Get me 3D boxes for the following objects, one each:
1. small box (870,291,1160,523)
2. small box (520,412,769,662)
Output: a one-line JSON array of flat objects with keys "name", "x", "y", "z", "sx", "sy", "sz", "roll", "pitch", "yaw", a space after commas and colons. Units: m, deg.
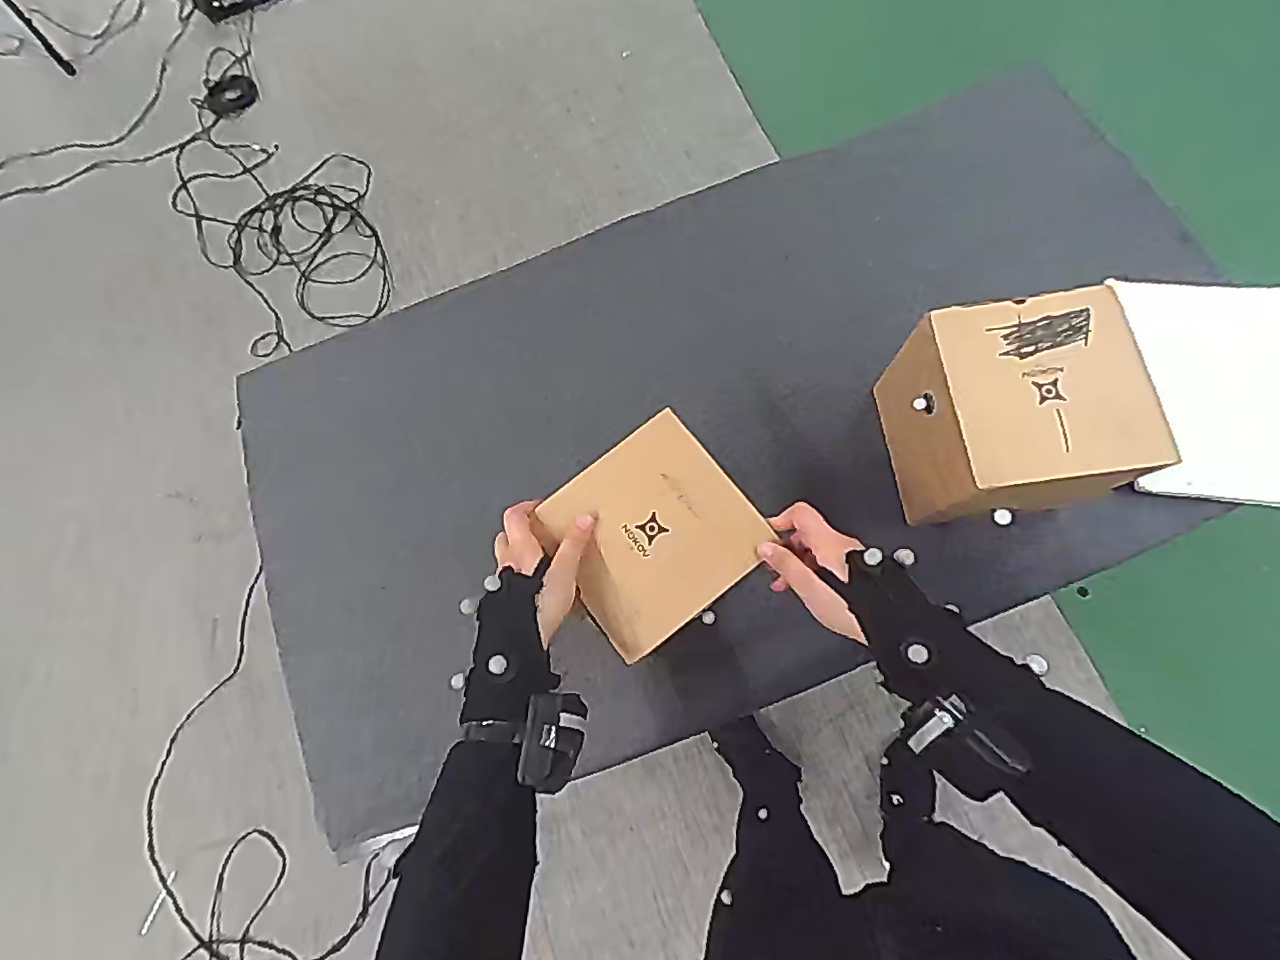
[{"name": "small box", "x": 0.358, "y": -0.063, "z": 0.560, "sx": 0.168, "sy": 0.176, "sz": 0.179, "roll": -8, "pitch": 75, "yaw": 5}, {"name": "small box", "x": 0.009, "y": 0.065, "z": 0.570, "sx": 0.179, "sy": 0.176, "sz": 0.168, "roll": -39, "pitch": 78, "yaw": -5}]
